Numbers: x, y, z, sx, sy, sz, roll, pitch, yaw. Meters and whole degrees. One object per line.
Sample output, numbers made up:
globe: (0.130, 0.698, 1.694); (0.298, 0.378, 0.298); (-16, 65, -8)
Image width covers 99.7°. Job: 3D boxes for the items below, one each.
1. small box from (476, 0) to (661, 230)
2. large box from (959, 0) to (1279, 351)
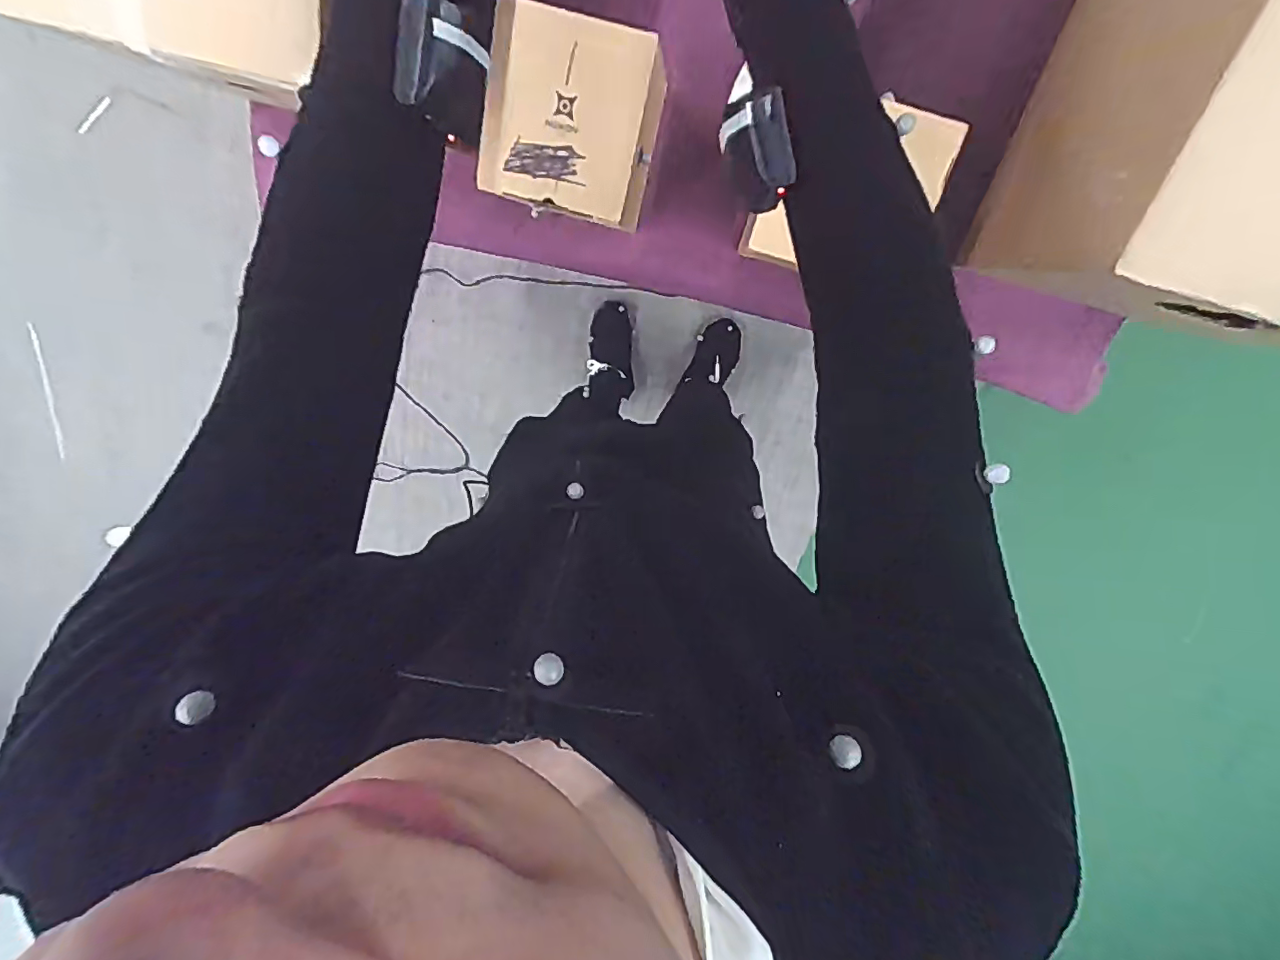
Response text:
small box: (-0.074, -0.404, 0.630); (0.168, 0.176, 0.179); (15, 112, -1)
large box: (0.599, -0.360, 0.511); (0.320, 0.320, 0.408); (16, 114, 0)
